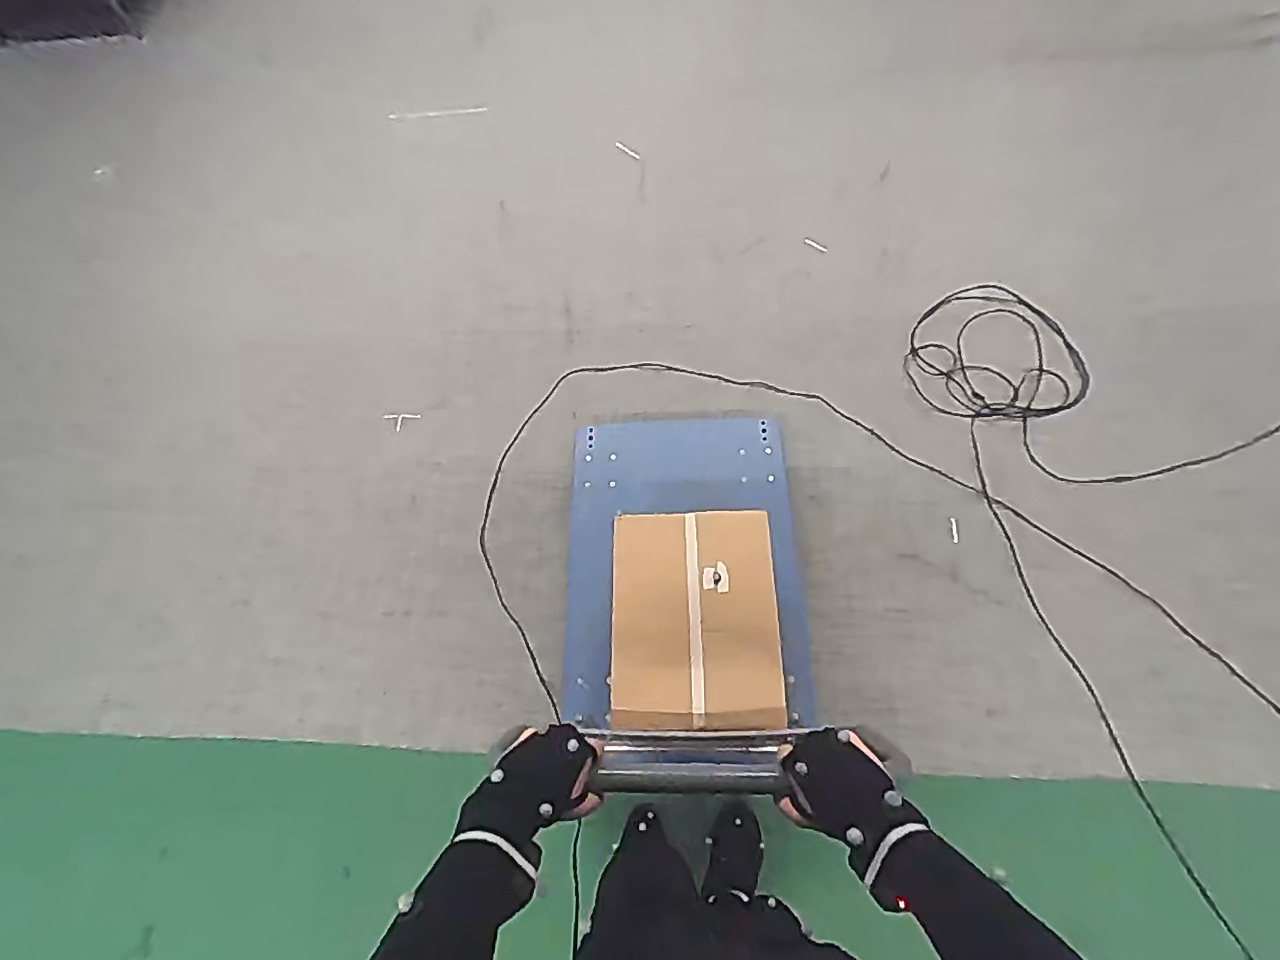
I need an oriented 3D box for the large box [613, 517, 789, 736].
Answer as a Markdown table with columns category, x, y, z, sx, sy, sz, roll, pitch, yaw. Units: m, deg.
| category | x | y | z | sx | sy | sz | roll | pitch | yaw |
| --- | --- | --- | --- | --- | --- | --- | --- | --- | --- |
| large box | 0.117 | 0.323 | 1.163 | 0.320 | 0.320 | 0.408 | -2 | 66 | 3 |
